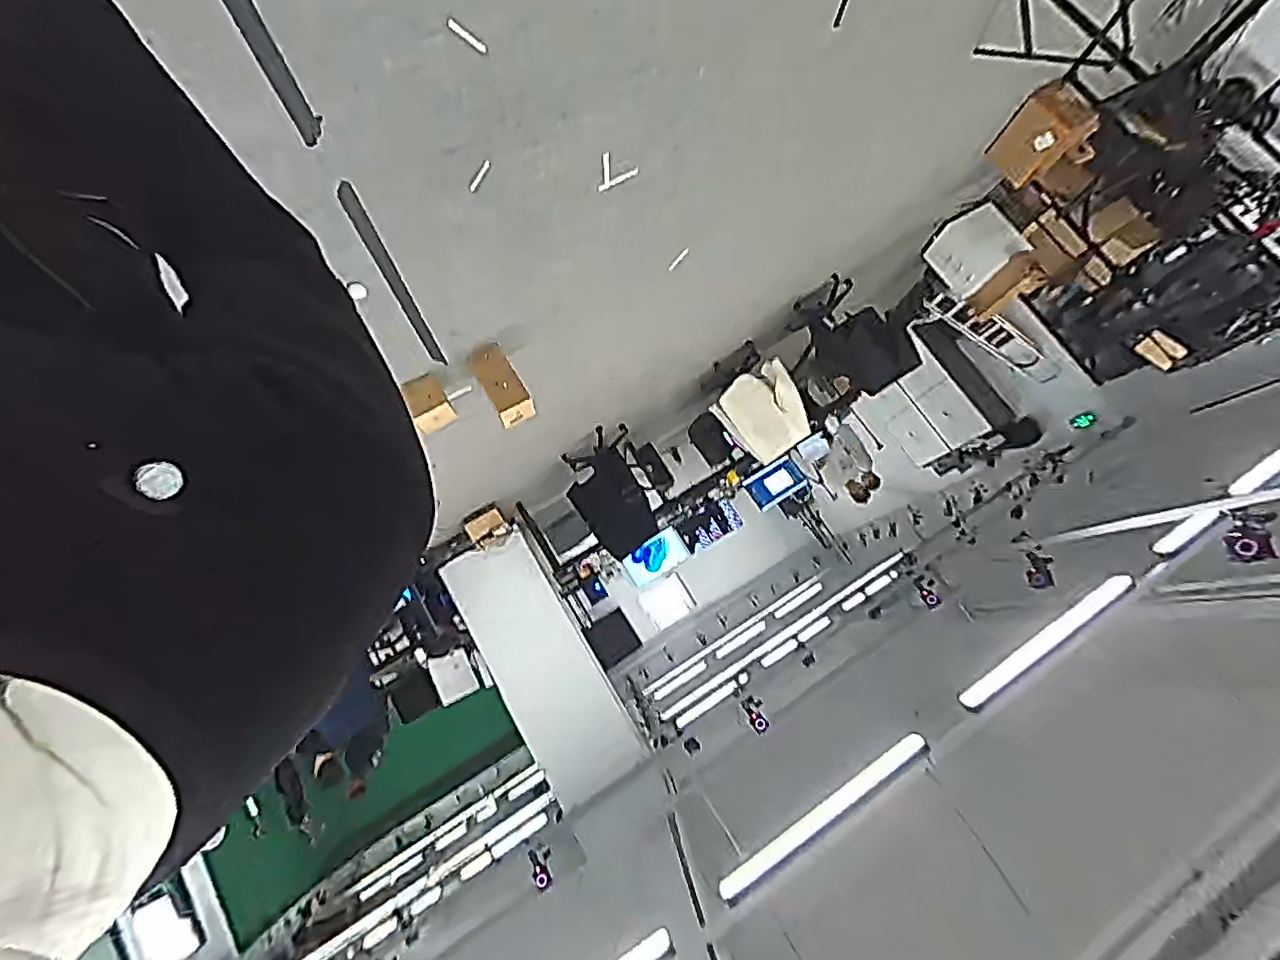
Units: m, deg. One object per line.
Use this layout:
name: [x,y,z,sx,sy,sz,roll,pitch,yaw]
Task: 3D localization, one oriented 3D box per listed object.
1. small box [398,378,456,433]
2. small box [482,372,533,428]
small box: [-0.989,-0.350,2.506,0.168,0.176,0.179,-31,168,-9]
small box: [-0.622,-0.379,2.545,0.168,0.176,0.179,-31,167,-13]
